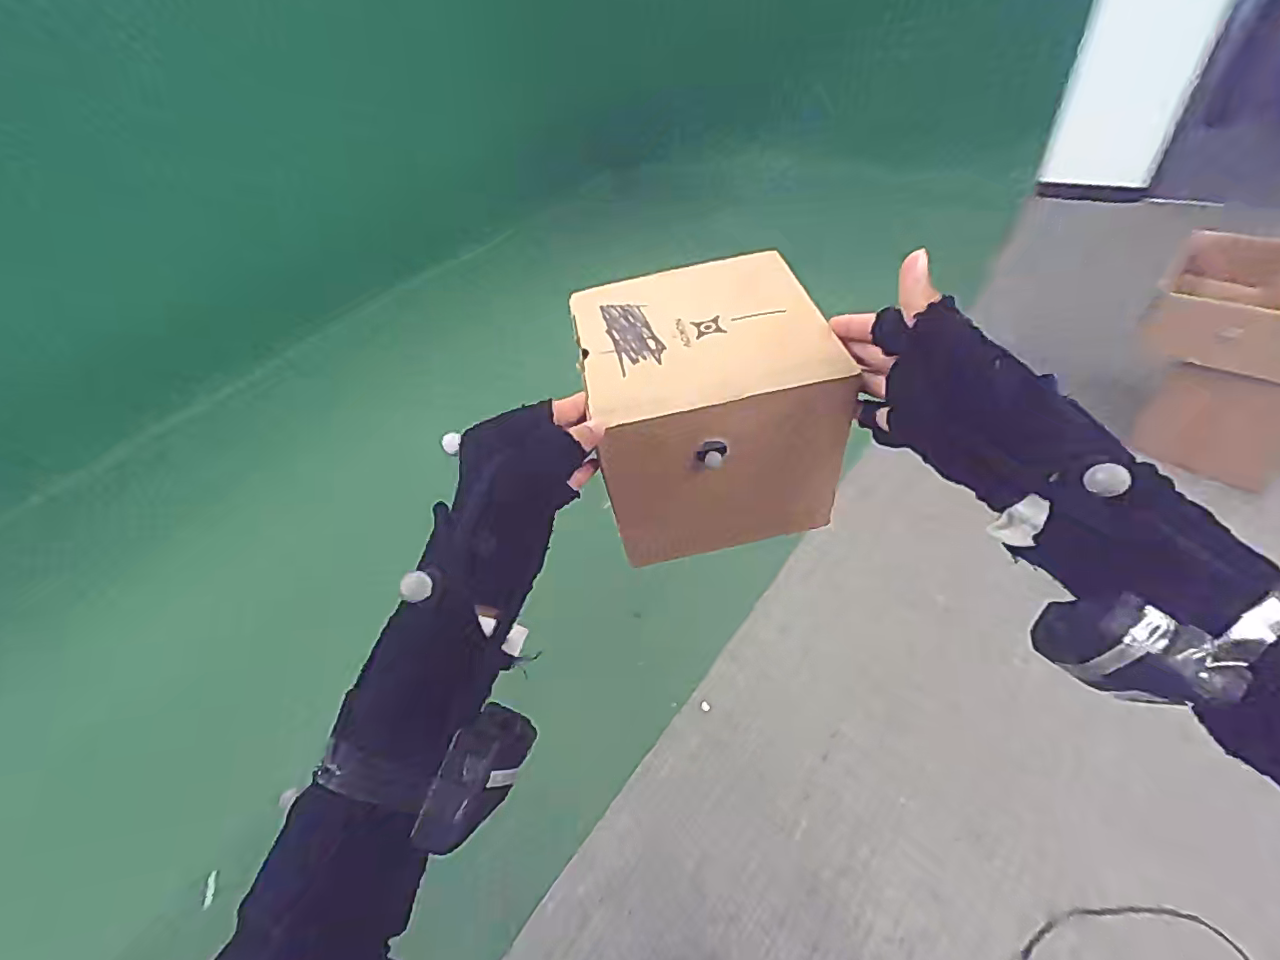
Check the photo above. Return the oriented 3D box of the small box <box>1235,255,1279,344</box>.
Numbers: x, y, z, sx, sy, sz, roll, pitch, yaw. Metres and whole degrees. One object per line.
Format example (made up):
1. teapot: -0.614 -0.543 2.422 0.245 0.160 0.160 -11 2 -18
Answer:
1. small box: 1.721 -0.465 1.412 0.168 0.176 0.179 29 57 31

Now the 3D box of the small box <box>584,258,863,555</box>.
1. small box: 0.059 -0.055 0.455 0.179 0.176 0.168 -11 49 0
